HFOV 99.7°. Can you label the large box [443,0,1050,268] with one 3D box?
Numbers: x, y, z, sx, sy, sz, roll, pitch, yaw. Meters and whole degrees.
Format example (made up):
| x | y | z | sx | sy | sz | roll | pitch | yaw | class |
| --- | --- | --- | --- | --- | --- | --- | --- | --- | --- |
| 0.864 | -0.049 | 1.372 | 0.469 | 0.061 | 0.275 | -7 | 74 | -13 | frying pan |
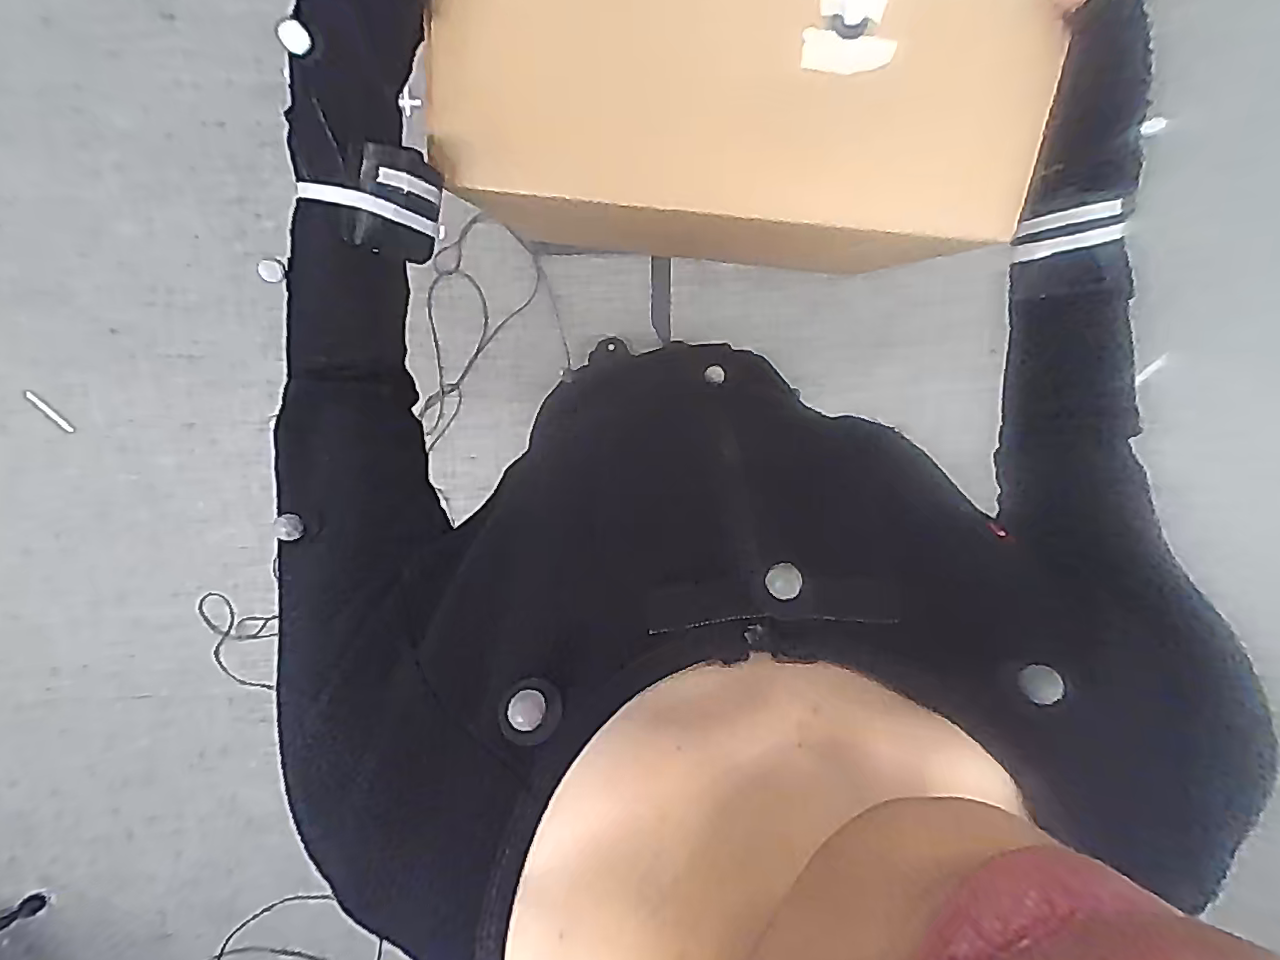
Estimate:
| x | y | z | sx | sy | sz | roll | pitch | yaw | class |
| --- | --- | --- | --- | --- | --- | --- | --- | --- | --- |
| 0.072 | -0.382 | 0.490 | 0.408 | 0.320 | 0.320 | 5 | 107 | 0 | large box |
